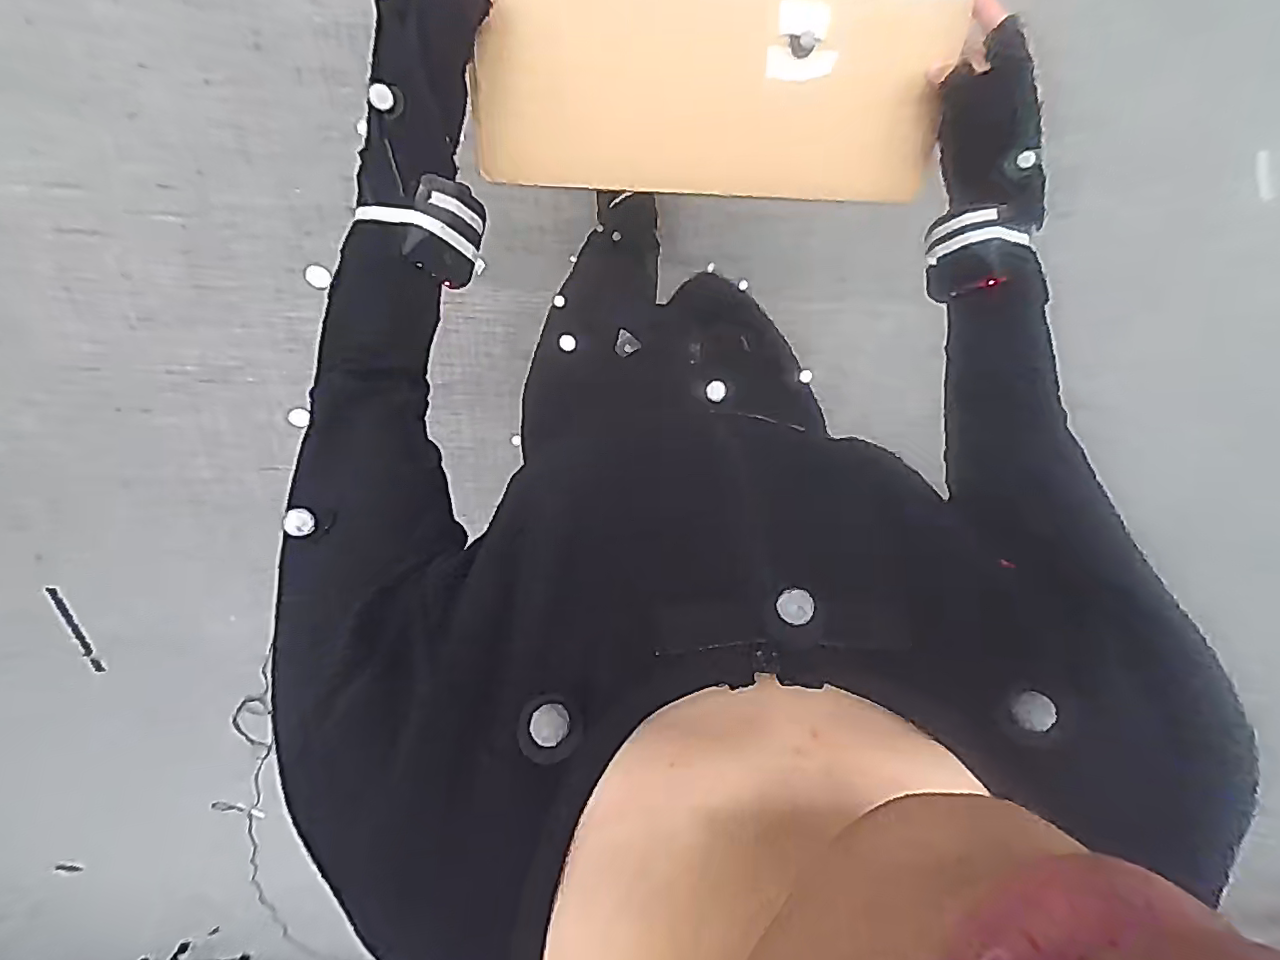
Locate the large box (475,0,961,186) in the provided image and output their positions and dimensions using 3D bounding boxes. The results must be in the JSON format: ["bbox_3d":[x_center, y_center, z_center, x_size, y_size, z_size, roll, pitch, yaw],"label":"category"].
[{"bbox_3d":[0.055,-0.483,0.549,0.408,0.320,0.320,0,121,-6],"label":"large box"}]
